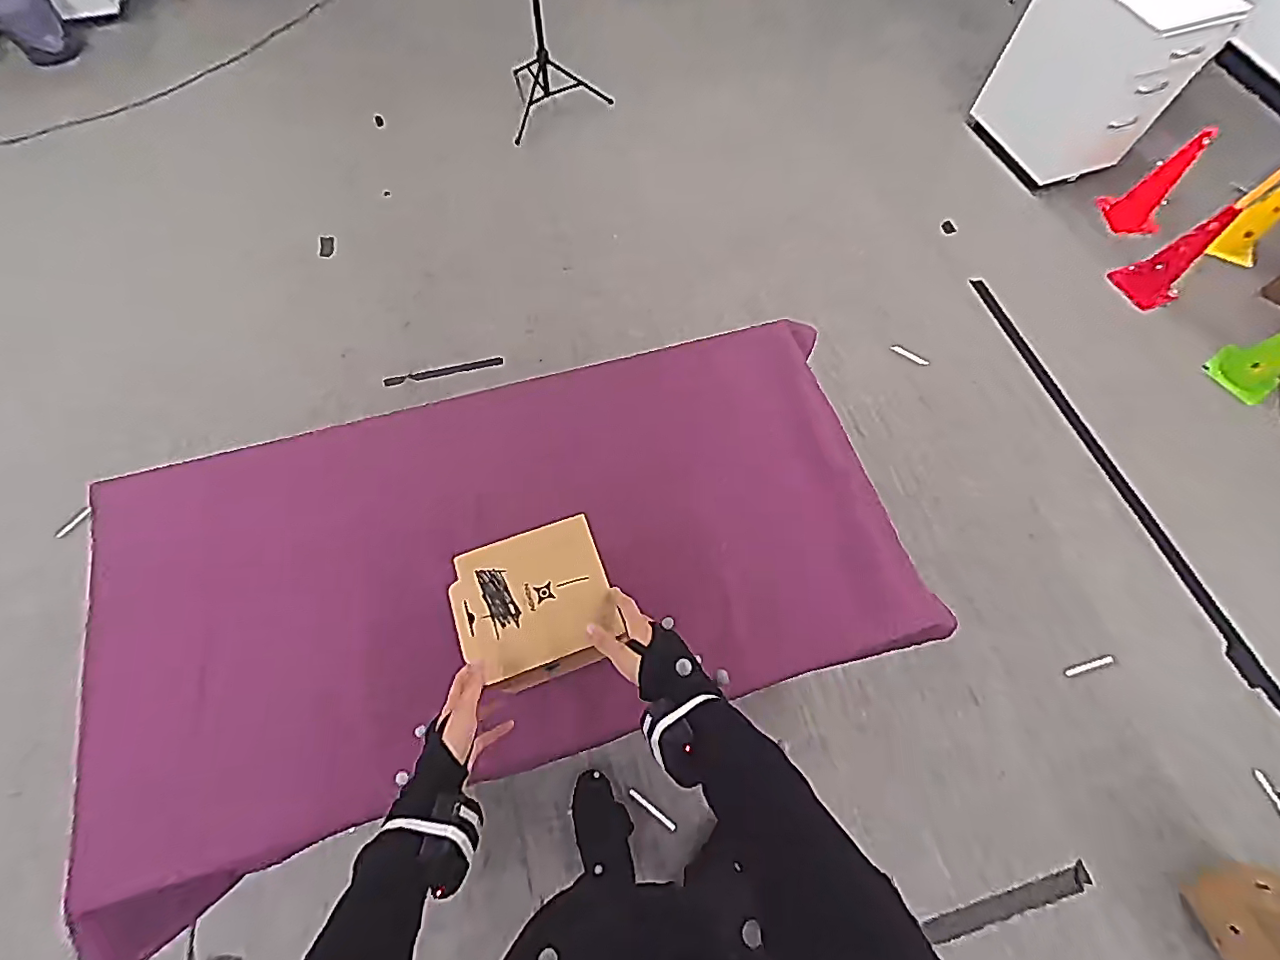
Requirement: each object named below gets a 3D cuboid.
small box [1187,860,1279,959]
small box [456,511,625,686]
[{"bbox_3d":[1.399,0.989,1.207,0.179,0.176,0.168,-18,68,-9],"label":"small box"},{"bbox_3d":[-0.126,0.168,0.734,0.179,0.176,0.168,-18,68,-10],"label":"small box"}]
